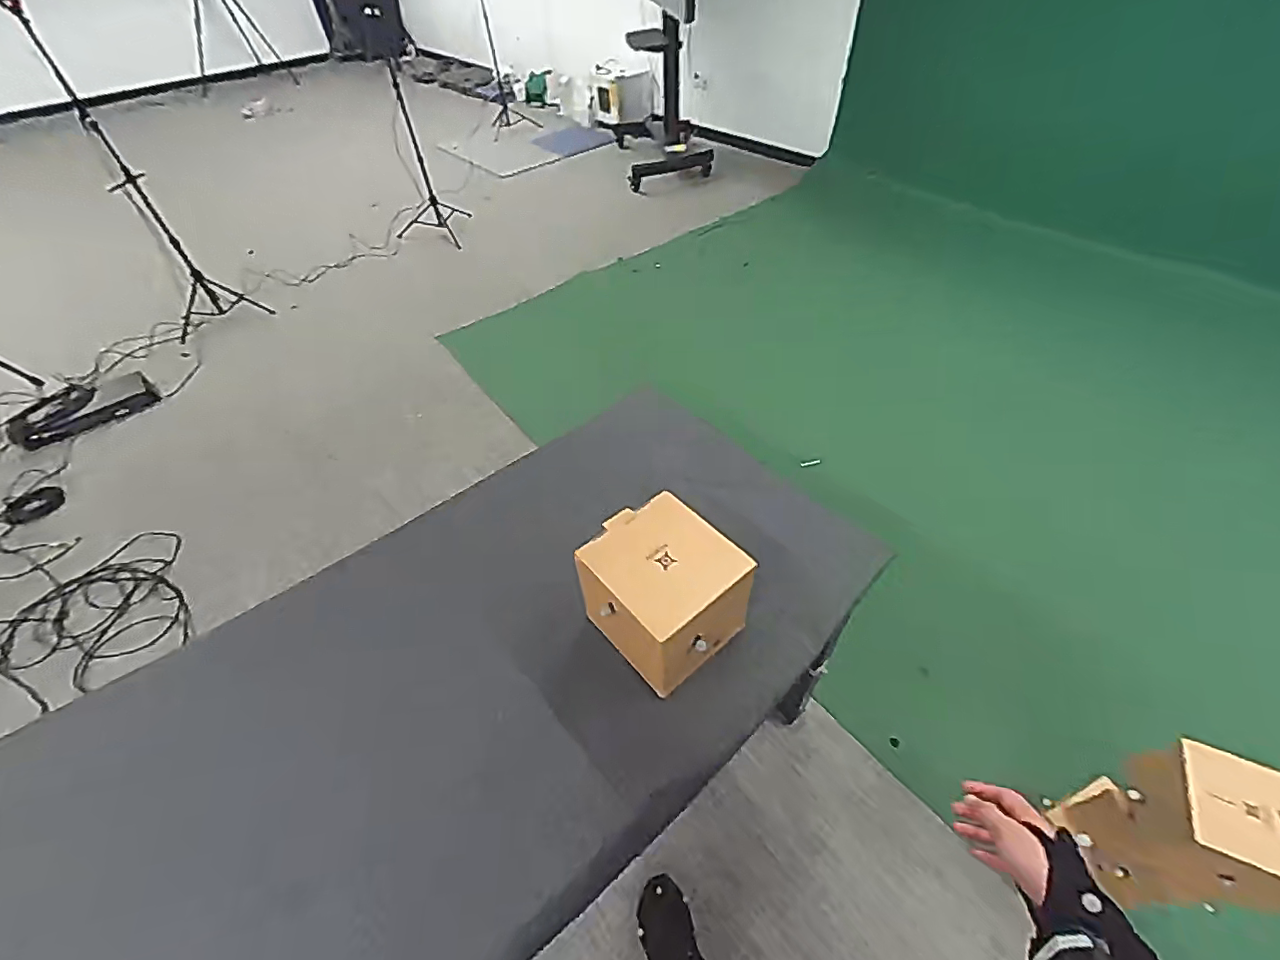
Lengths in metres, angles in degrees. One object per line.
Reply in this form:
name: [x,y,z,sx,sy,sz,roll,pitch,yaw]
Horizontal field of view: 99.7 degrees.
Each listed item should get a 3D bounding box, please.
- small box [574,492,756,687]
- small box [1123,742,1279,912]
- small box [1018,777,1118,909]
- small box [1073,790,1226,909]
small box: [0.035,0.156,0.741,0.168,0.176,0.179,-34,53,-24]
small box: [0.932,0.558,0.868,0.179,0.176,0.168,19,53,20]
small box: [0.937,0.759,1.126,0.179,0.176,0.168,-19,51,-14]
small box: [0.945,0.672,0.986,0.179,0.176,0.168,-4,50,-1]
